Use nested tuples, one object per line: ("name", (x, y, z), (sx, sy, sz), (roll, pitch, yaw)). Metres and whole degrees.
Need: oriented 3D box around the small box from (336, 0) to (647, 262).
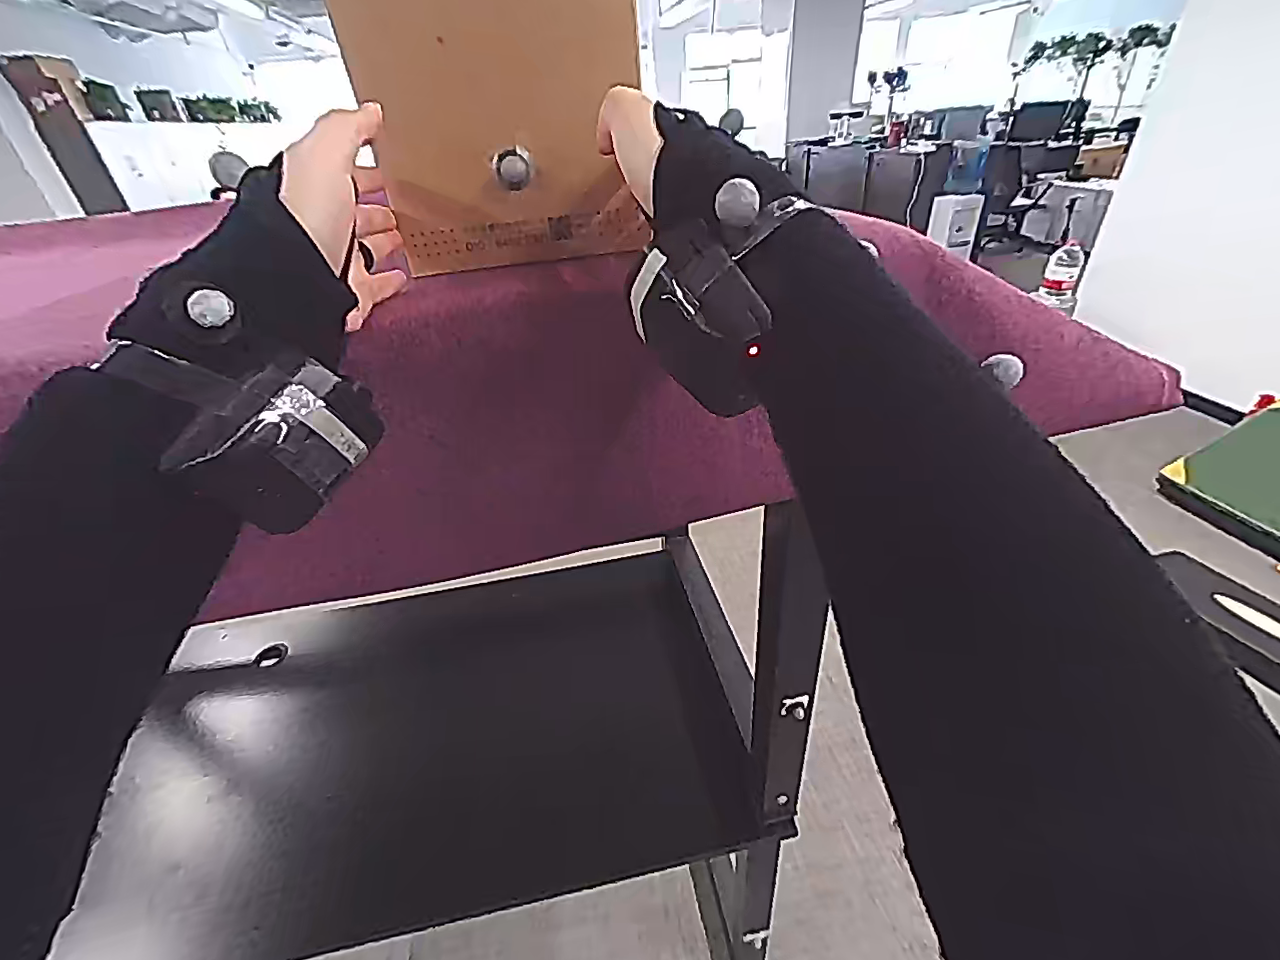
("small box", (-0.090, -0.262, 0.386), (0.168, 0.176, 0.179), (-8, 33, -3))
